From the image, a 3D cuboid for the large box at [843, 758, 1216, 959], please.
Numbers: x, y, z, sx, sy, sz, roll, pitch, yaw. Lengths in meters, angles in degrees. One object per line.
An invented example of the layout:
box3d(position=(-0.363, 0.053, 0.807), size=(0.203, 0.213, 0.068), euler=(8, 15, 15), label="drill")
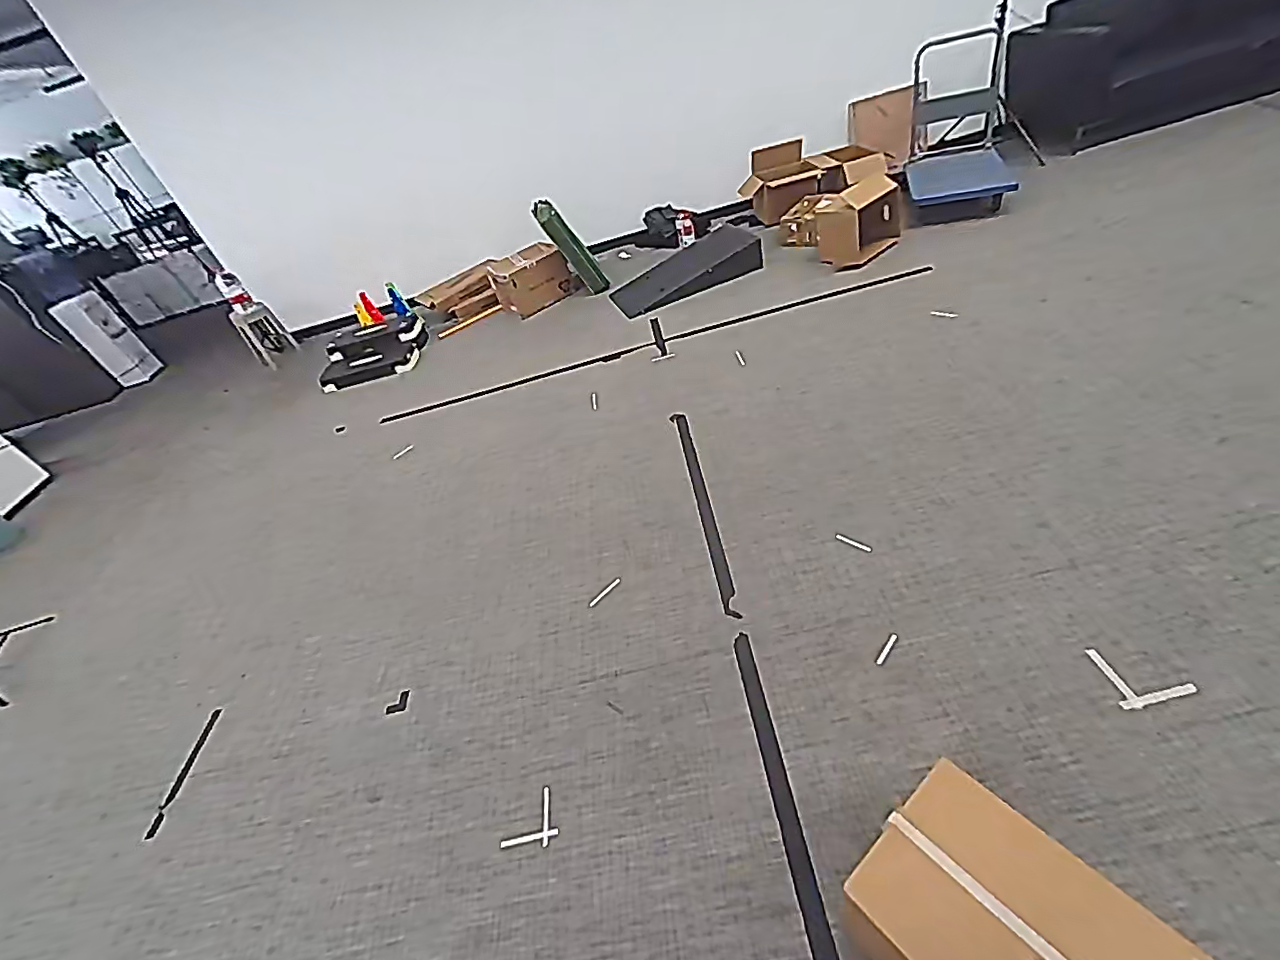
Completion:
box3d(position=(0.620, 0.798, 0.944), size=(0.320, 0.320, 0.408), euler=(-36, 44, -21), label="large box")
